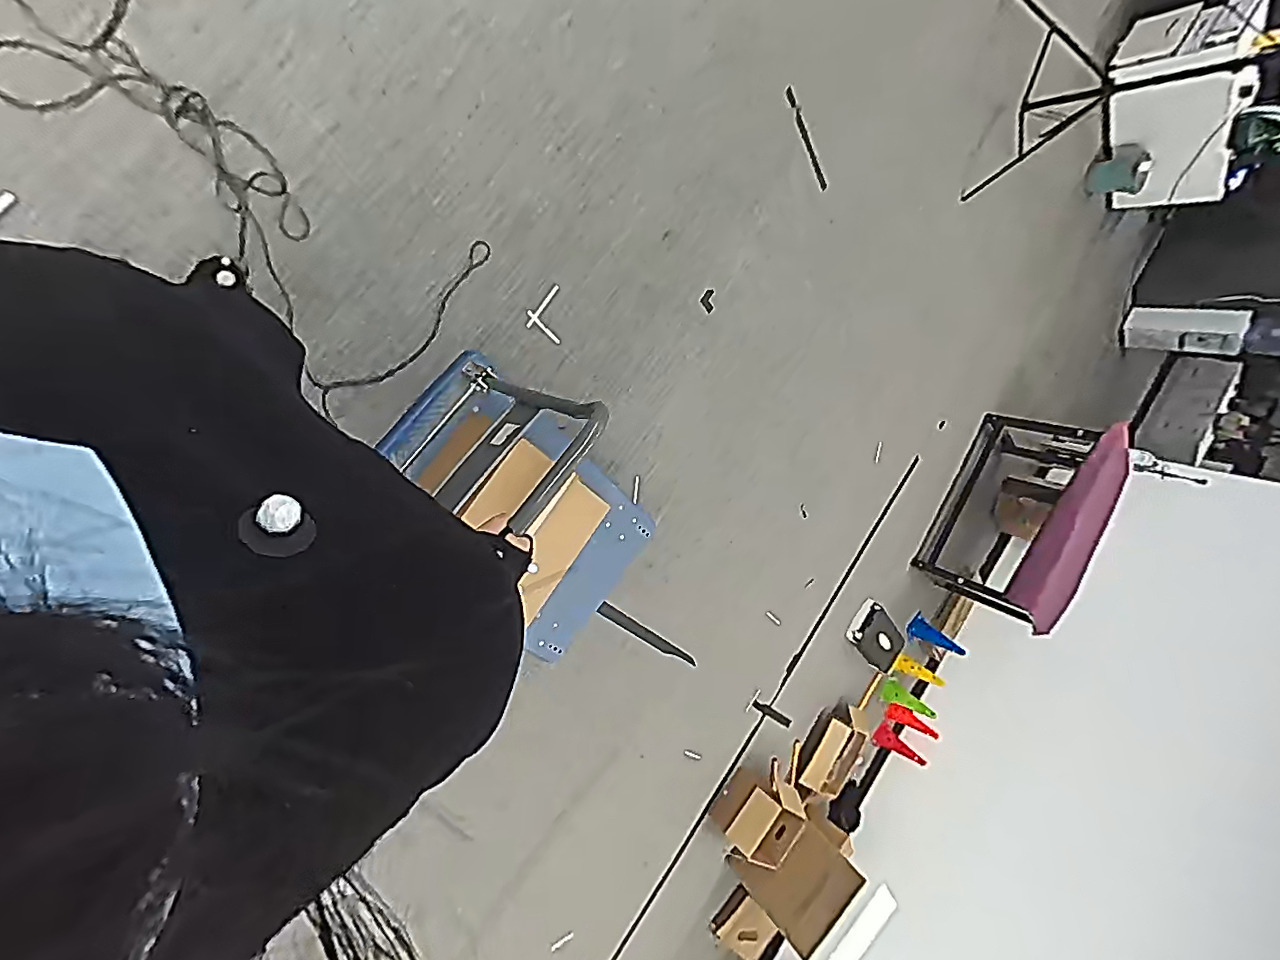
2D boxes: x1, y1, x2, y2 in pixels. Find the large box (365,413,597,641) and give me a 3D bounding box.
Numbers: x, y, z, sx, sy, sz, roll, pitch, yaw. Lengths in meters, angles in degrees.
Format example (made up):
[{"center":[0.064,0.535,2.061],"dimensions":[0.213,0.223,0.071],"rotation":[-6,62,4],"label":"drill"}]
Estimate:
[{"center":[-0.386,0.103,1.321],"dimensions":[0.320,0.320,0.408],"rotation":[42,79,-40],"label":"large box"}]
